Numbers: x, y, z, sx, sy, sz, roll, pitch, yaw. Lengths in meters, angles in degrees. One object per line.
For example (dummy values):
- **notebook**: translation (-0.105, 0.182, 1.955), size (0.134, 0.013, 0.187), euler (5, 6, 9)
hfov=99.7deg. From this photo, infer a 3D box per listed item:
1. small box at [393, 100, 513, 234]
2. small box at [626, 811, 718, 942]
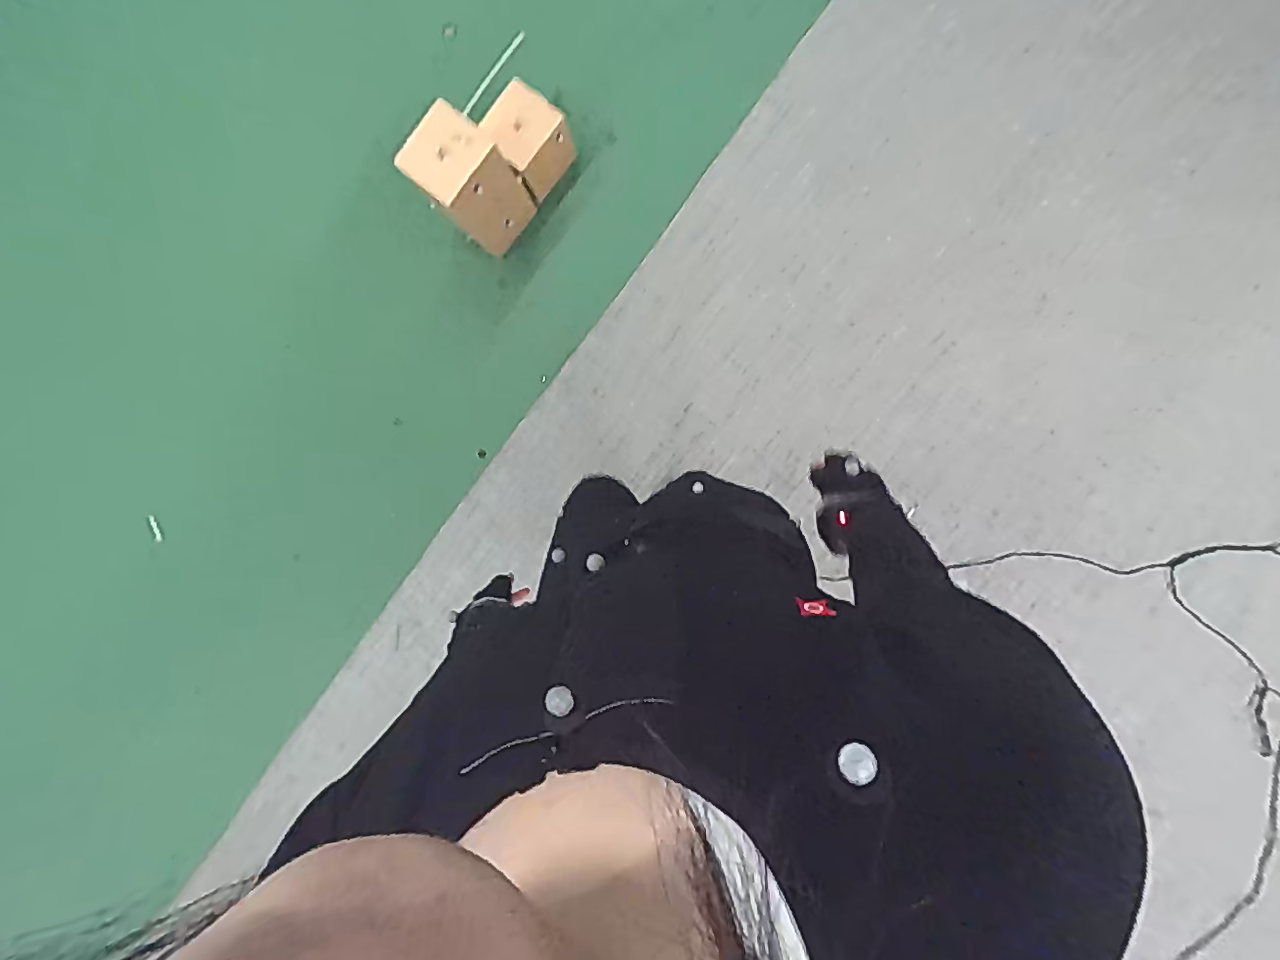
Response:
- **small box**: translation (-0.425, -0.718, 1.264), size (0.168, 0.176, 0.179), euler (39, 93, 2)
- **small box**: translation (0.080, 1.012, 1.398), size (0.168, 0.176, 0.179), euler (32, 93, 2)
